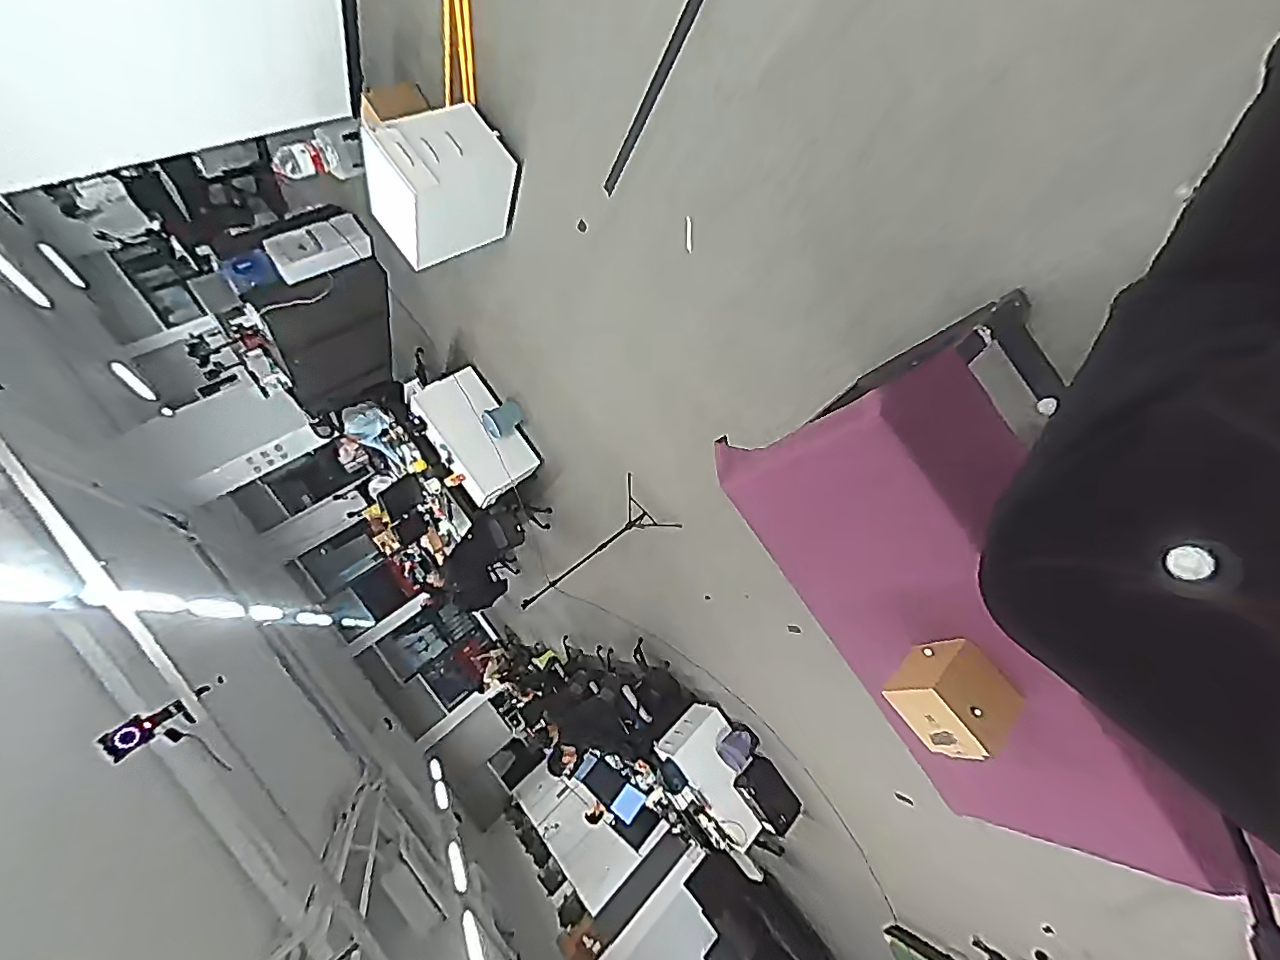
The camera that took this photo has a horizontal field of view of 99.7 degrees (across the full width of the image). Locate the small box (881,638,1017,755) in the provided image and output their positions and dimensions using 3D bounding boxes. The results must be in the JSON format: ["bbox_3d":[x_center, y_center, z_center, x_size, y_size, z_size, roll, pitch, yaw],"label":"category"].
[{"bbox_3d":[0.703,0.487,1.229,0.179,0.176,0.168,50,152,8],"label":"small box"}]
